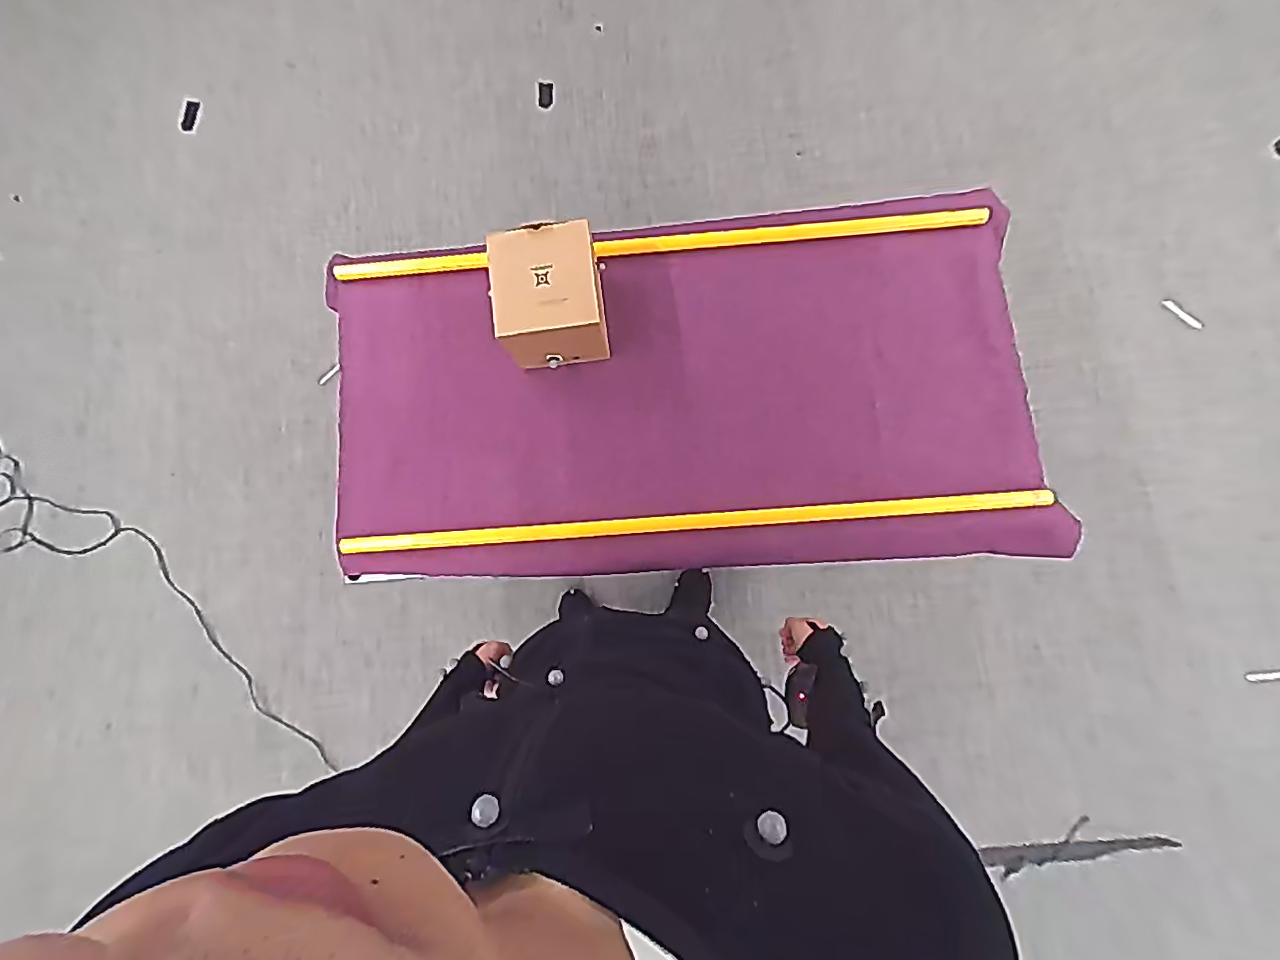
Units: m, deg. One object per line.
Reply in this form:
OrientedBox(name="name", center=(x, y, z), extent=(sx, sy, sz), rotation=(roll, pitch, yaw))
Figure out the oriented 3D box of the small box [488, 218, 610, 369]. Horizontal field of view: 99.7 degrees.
OrientedBox(name="small box", center=(-0.147, -0.306, 0.915), extent=(0.168, 0.176, 0.179), rotation=(-8, 82, 2))
